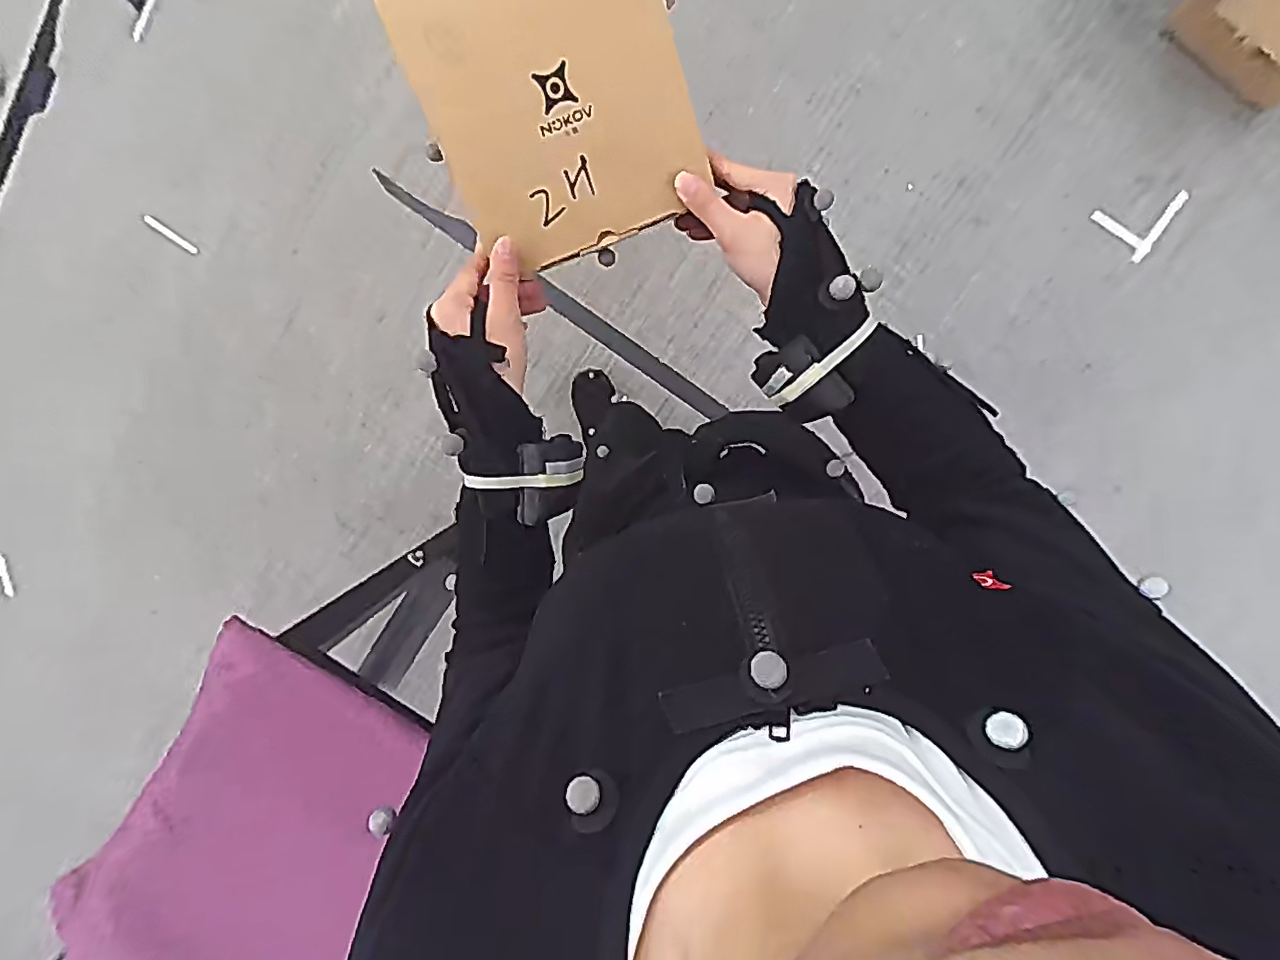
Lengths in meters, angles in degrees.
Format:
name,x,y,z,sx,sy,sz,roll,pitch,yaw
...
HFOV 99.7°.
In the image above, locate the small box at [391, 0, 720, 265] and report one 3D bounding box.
name,x,y,z,sx,sy,sz,roll,pitch,yaw
small box,-0.056,-0.278,0.415,0.168,0.176,0.179,-20,112,3
